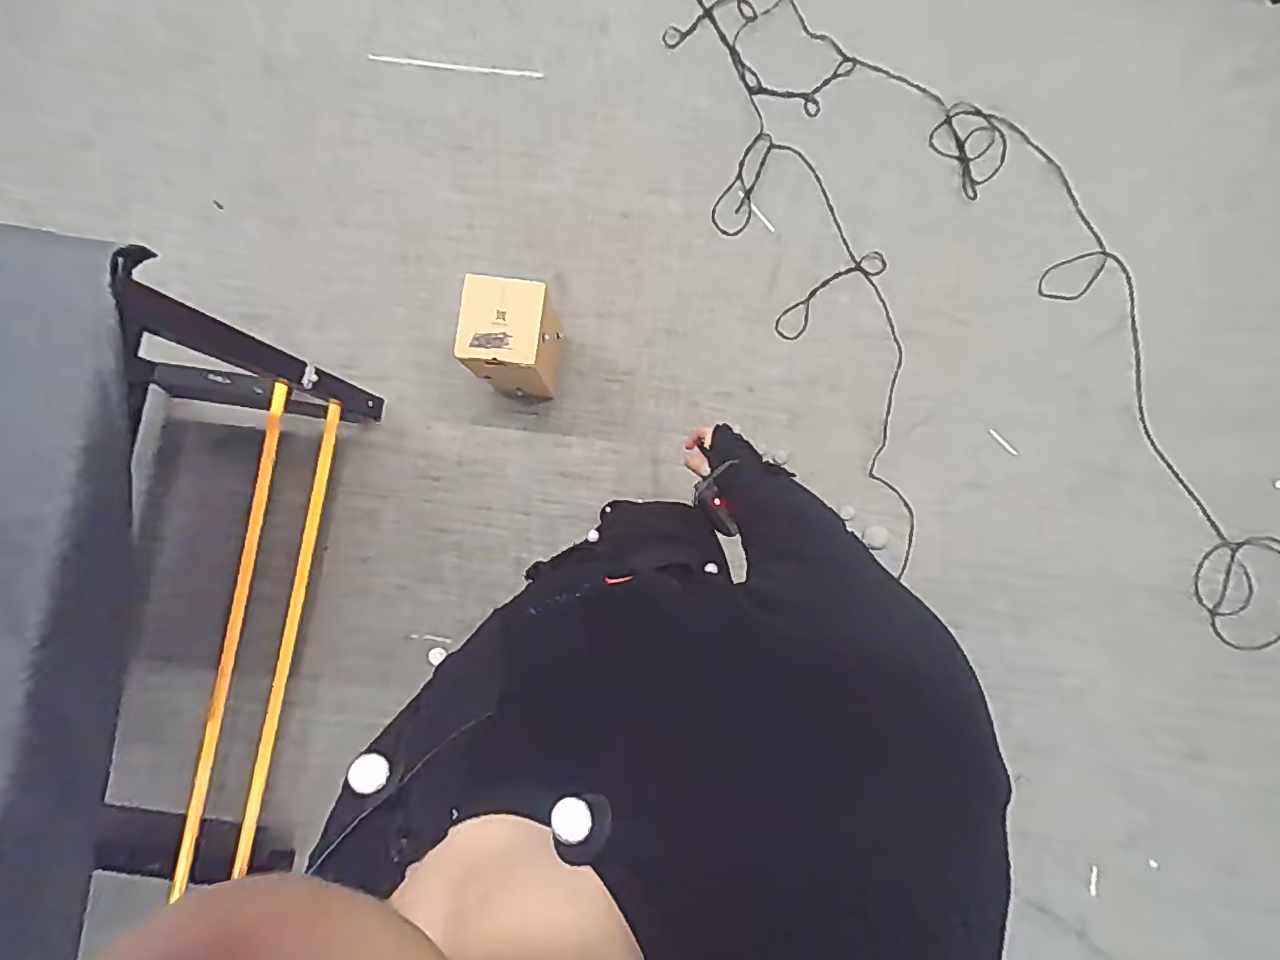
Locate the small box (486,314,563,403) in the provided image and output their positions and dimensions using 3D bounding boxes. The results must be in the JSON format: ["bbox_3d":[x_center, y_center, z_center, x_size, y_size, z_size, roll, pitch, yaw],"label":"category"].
[{"bbox_3d":[-0.287,-0.302,1.323,0.168,0.176,0.179,9,84,1],"label":"small box"}]

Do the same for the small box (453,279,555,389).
[{"bbox_3d":[-0.282,-0.304,1.159,0.168,0.176,0.179,6,84,0],"label":"small box"}]
